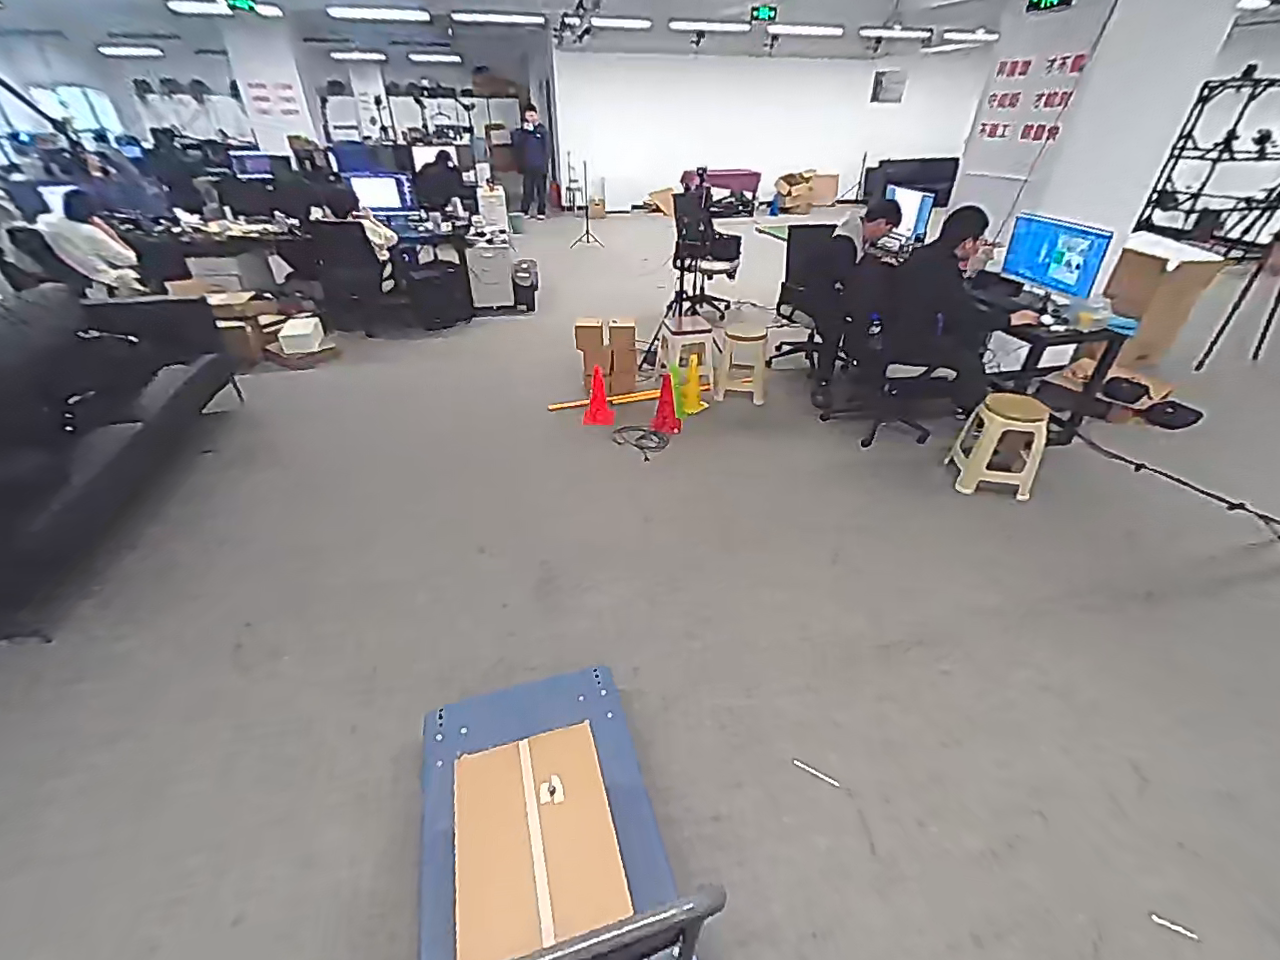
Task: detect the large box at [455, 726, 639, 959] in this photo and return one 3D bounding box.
[{"bbox_3d":[-0.206,0.836,1.169,0.320,0.320,0.408,-10,35,-14],"label":"large box"}]
